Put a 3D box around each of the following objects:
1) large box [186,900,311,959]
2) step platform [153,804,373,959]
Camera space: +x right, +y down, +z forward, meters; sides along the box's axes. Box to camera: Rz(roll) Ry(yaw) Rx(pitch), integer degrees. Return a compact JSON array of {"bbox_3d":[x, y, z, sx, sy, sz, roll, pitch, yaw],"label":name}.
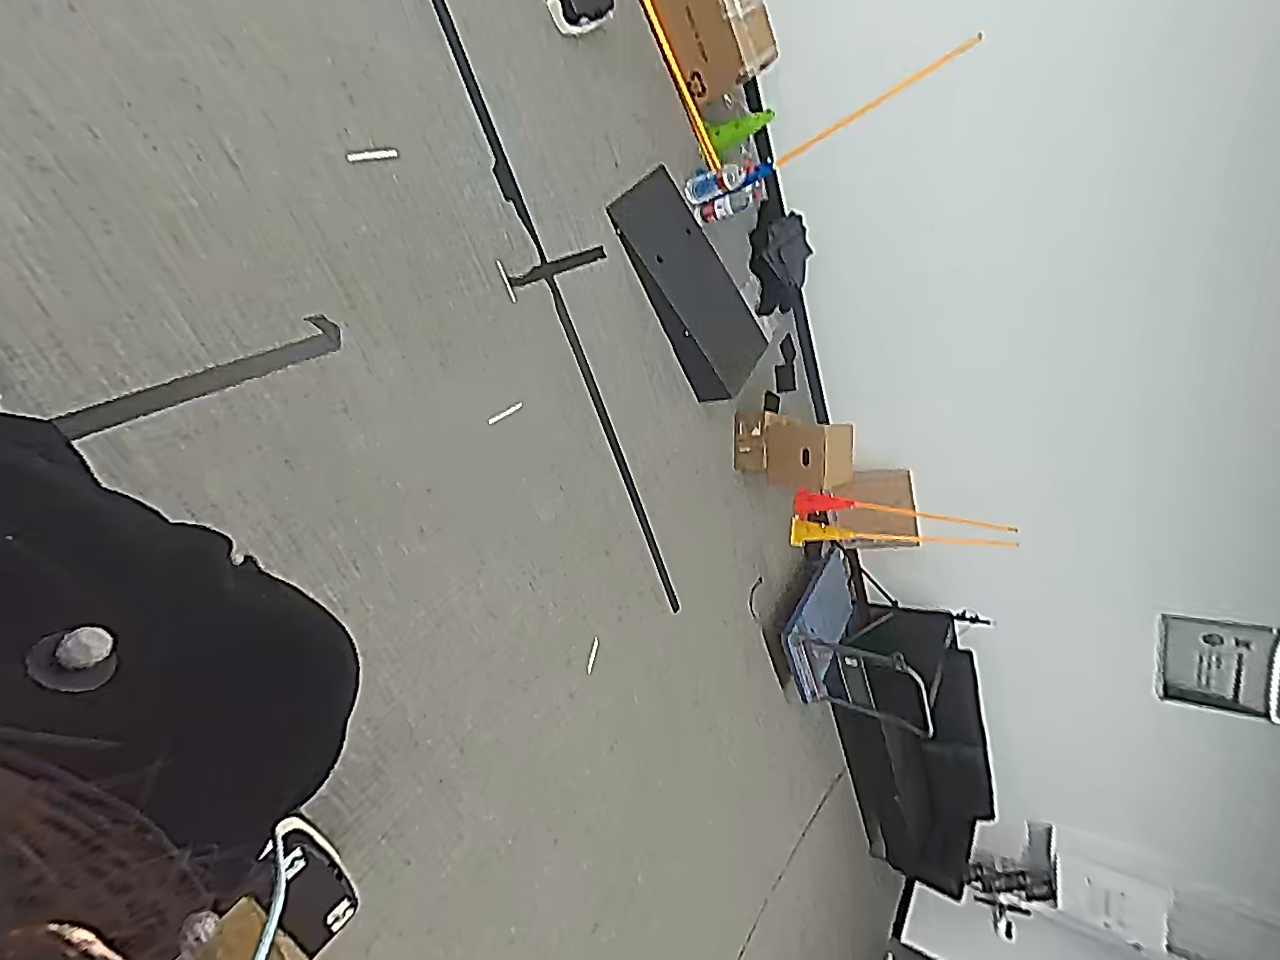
[{"bbox_3d":[-0.759,1.090,0.946,0.408,0.320,0.320,-40,120,-42],"label":"large box"},{"bbox_3d":[-0.930,1.053,1.113,0.684,0.204,0.286,-34,115,-44],"label":"step platform"}]
